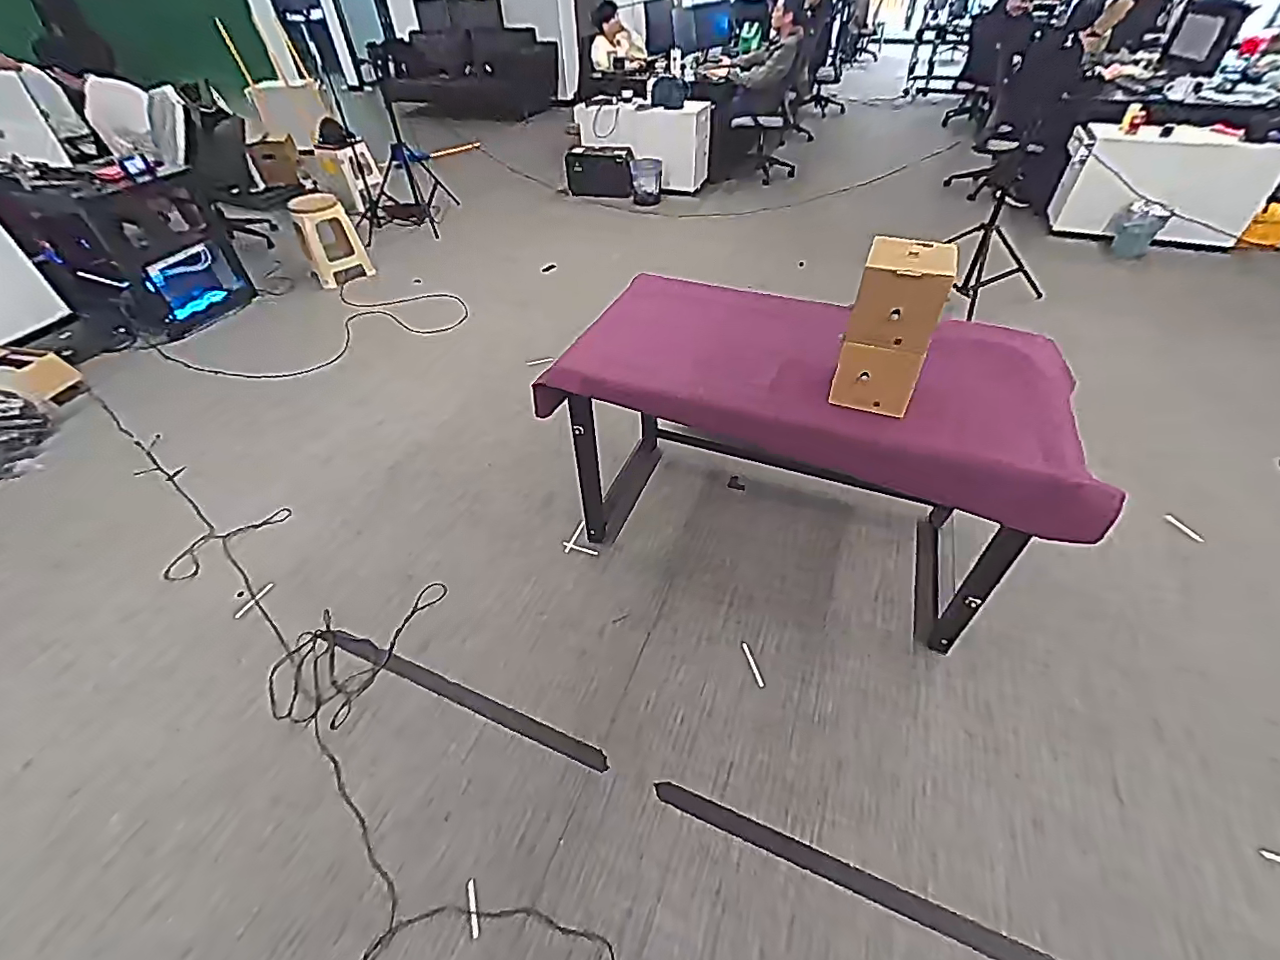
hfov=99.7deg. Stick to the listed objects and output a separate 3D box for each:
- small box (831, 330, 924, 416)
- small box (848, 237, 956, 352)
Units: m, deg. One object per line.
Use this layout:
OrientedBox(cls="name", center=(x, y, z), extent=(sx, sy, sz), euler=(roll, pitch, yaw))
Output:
OrientedBox(cls="small box", center=(0.554, -0.272, 1.261), extent=(0.168, 0.176, 0.179), euler=(15, 46, 17))
OrientedBox(cls="small box", center=(0.552, -0.393, 1.150), extent=(0.168, 0.176, 0.179), euler=(16, 47, 18))
